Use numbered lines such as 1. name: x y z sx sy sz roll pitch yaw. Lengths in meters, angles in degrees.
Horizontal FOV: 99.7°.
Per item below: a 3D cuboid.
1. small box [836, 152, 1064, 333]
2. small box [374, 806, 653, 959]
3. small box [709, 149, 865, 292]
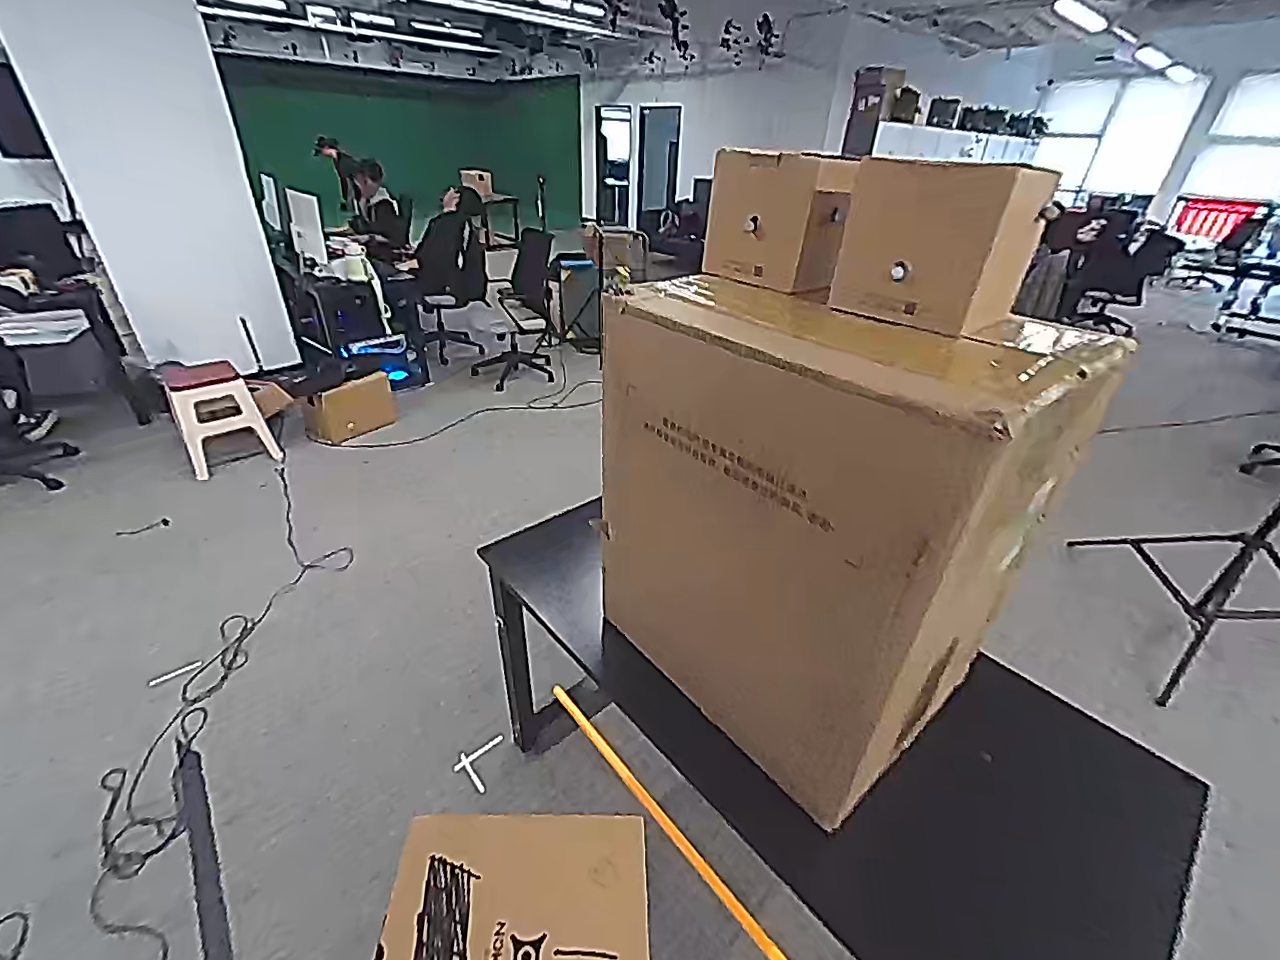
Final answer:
1. small box: 0.360 -0.286 0.648 0.179 0.176 0.168 -23 39 -38
2. small box: -0.083 0.361 0.388 0.179 0.176 0.168 2 35 -5
3. small box: 0.216 -0.383 0.795 0.168 0.176 0.179 30 40 35
